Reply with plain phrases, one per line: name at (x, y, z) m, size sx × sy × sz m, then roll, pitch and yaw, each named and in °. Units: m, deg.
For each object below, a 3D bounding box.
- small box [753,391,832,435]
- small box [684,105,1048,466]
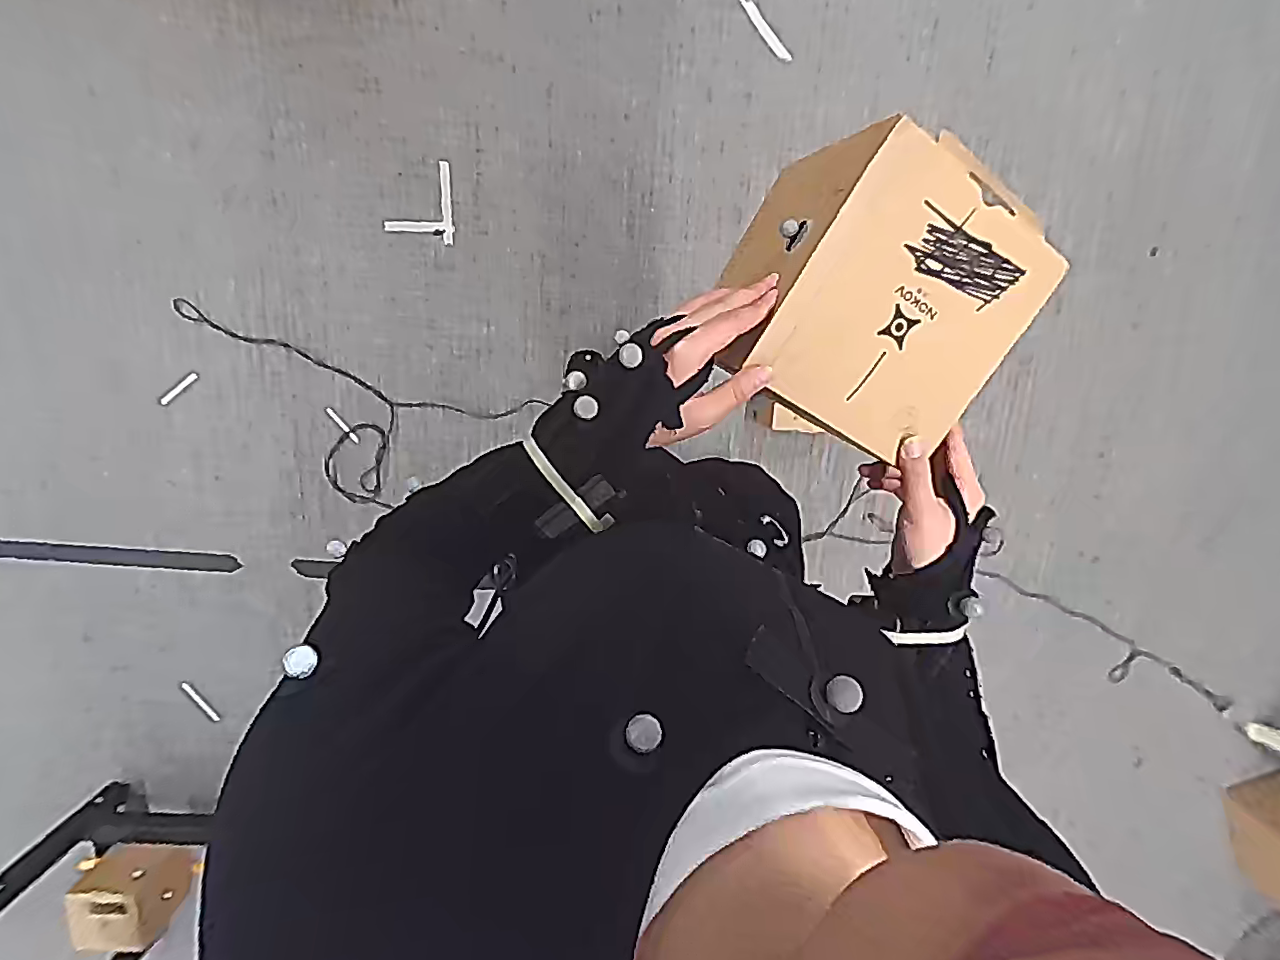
small box at (0.365, -0.205, 1.248) m, size 0.168 × 0.176 × 0.179 m, roll 4°, pitch 102°, yaw -1°
small box at (0.155, -0.143, 0.434) m, size 0.168 × 0.176 × 0.179 m, roll 27°, pitch 103°, yaw -18°
